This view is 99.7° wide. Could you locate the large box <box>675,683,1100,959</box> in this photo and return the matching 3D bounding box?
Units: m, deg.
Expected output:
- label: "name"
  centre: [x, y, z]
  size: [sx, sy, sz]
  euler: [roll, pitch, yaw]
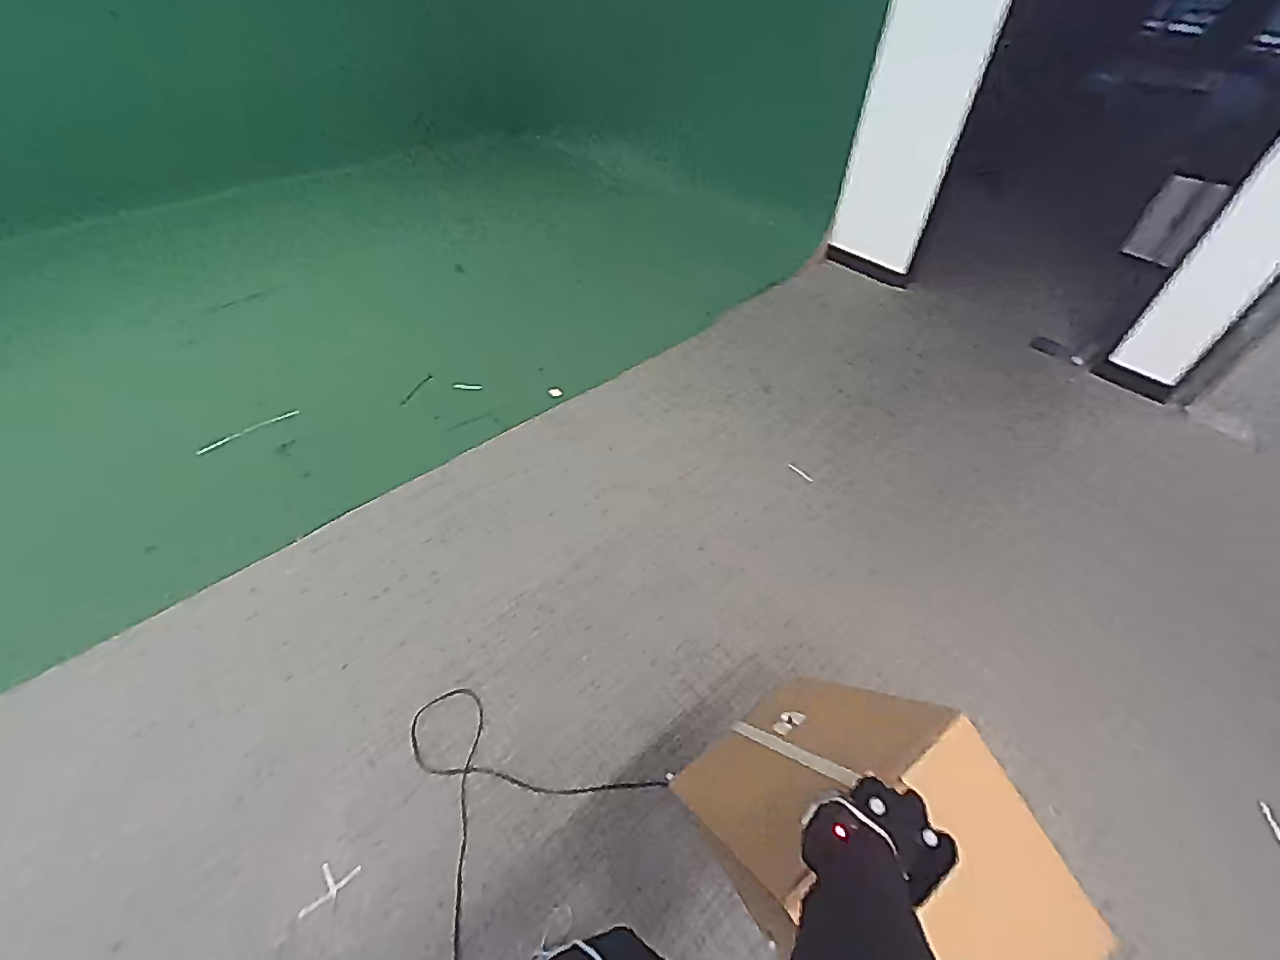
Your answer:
- label: "large box"
  centre: [0.312, 0.538, 0.791]
  size: [0.320, 0.408, 0.320]
  euler: [-31, 84, -19]
